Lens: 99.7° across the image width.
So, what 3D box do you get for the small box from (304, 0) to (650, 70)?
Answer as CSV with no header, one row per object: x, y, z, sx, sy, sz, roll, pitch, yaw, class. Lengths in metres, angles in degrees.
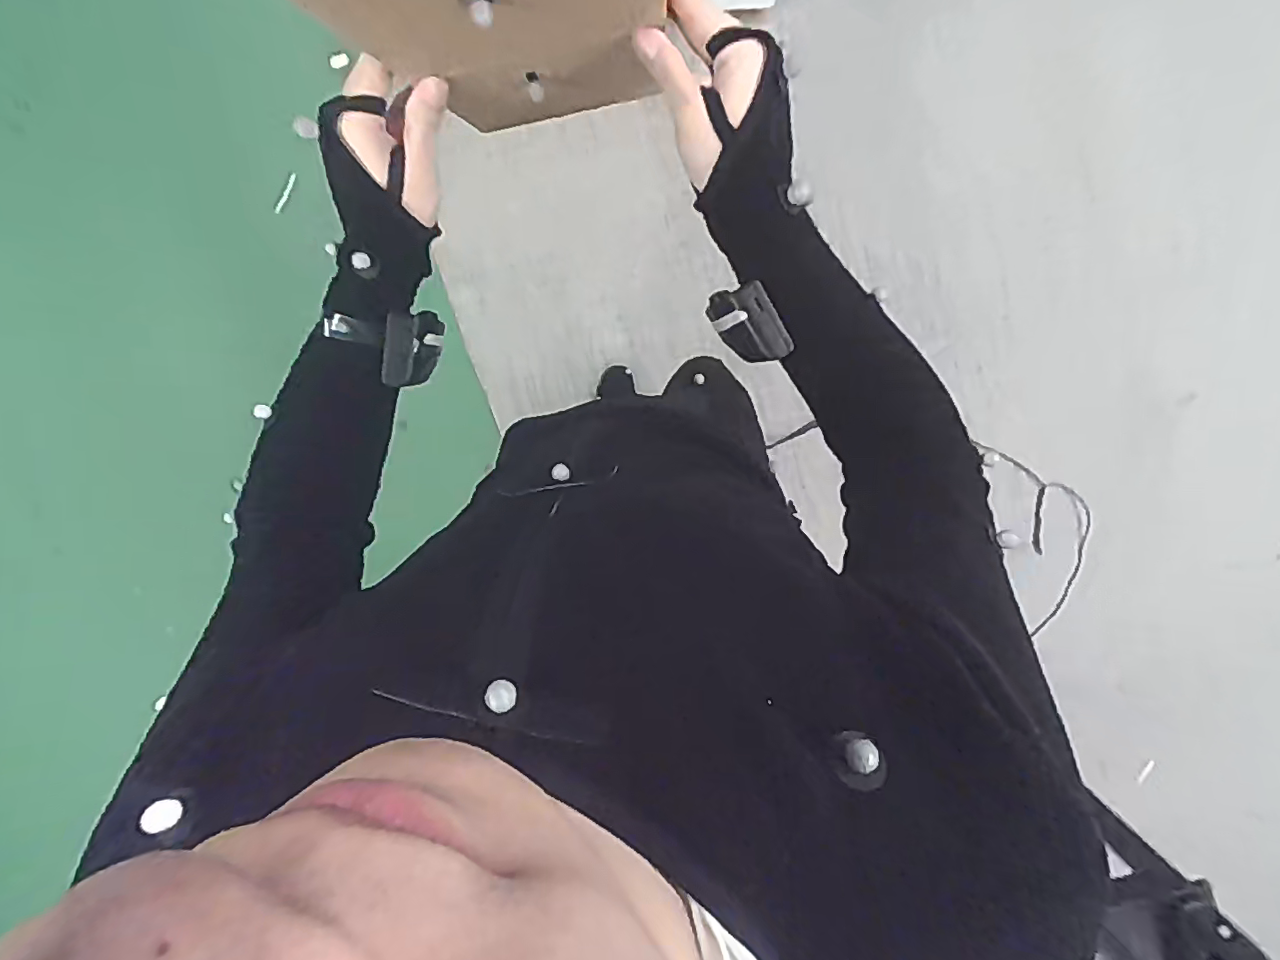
-0.082,-0.317,0.238,0.179,0.176,0.168,-8,111,6,small box

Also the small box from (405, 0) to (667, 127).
-0.076,-0.379,0.391,0.179,0.176,0.168,-8,112,5,small box
